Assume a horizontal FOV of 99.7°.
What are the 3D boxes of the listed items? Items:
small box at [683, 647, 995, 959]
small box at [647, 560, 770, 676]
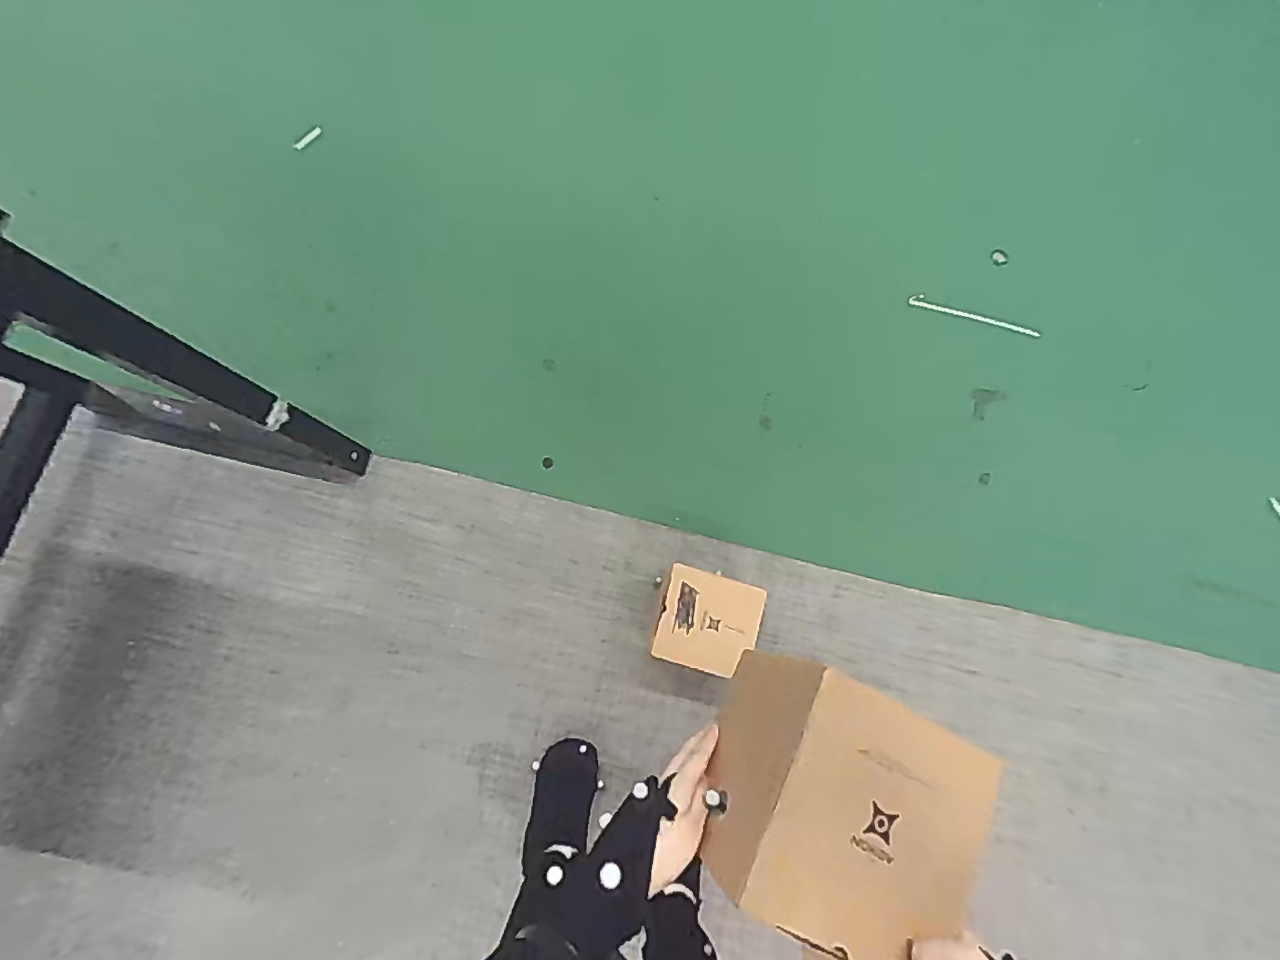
[{"bbox_3d":[0.152,0.262,0.467,0.168,0.176,0.179,29,72,-4],"label":"small box"},{"bbox_3d":[0.119,0.257,1.008,0.179,0.176,0.168,17,79,0],"label":"small box"}]
